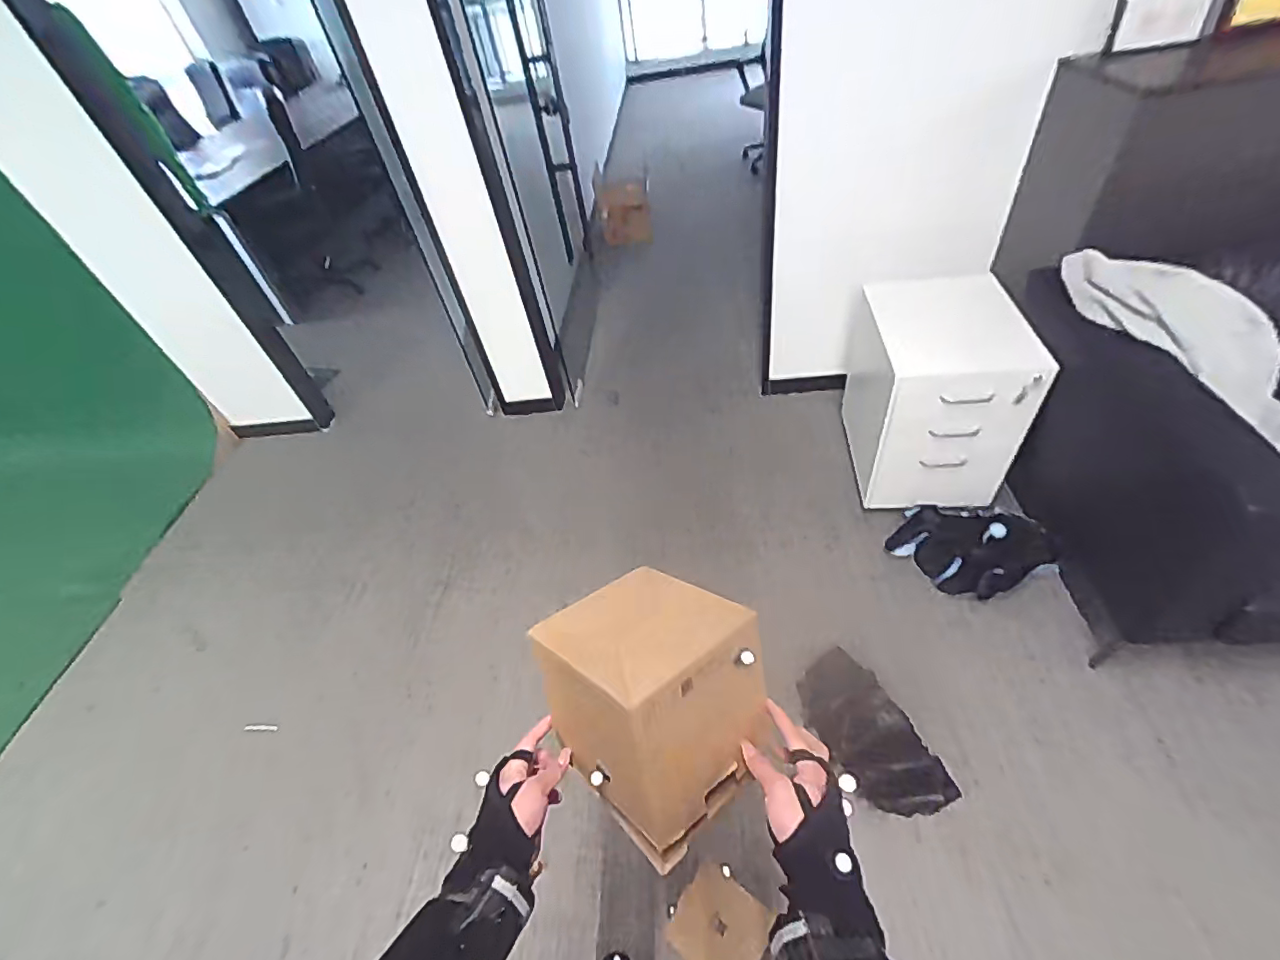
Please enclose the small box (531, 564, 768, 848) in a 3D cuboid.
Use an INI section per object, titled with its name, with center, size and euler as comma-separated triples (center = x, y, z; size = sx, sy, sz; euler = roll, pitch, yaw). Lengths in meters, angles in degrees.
[small box]
center = 0.008, 0.212, 0.559
size = 0.168, 0.176, 0.179
euler = -25, 26, -34
